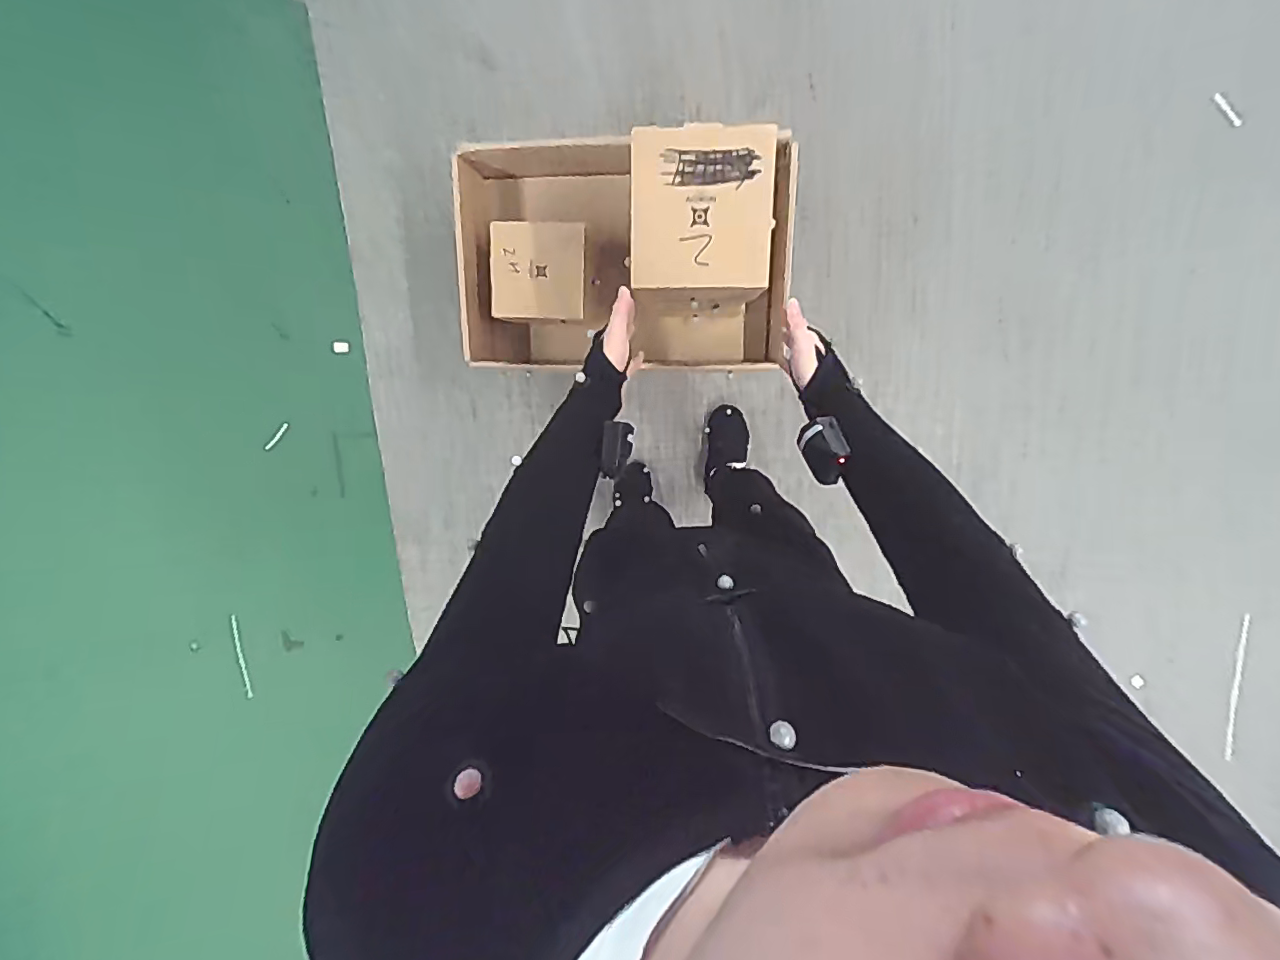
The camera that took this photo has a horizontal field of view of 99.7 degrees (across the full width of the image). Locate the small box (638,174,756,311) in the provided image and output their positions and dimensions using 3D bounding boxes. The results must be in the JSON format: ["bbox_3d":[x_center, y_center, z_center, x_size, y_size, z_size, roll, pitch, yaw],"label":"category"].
[{"bbox_3d":[0.089,-0.366,0.862,0.168,0.176,0.179,2,102,5],"label":"small box"}]
